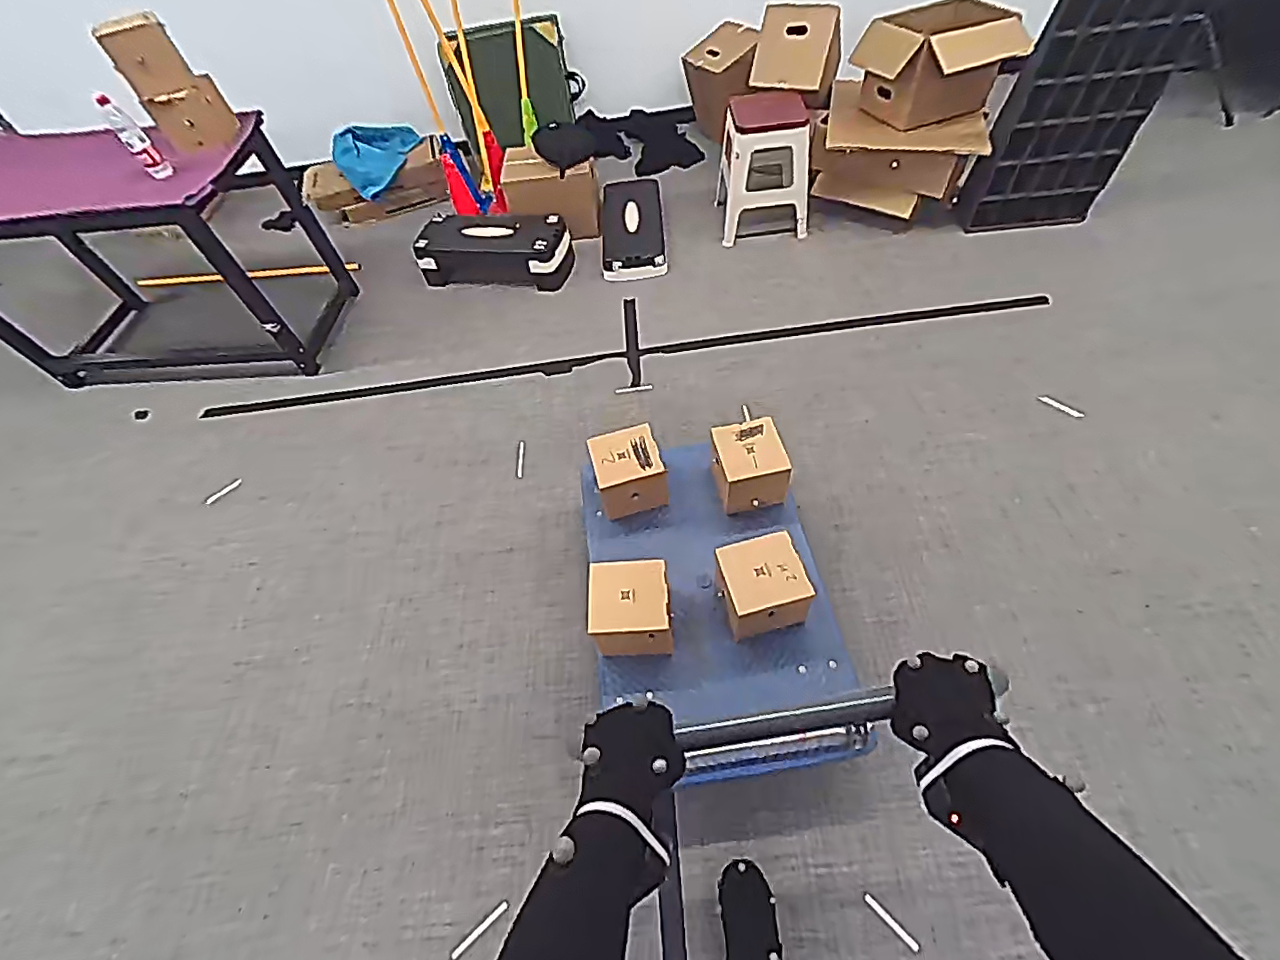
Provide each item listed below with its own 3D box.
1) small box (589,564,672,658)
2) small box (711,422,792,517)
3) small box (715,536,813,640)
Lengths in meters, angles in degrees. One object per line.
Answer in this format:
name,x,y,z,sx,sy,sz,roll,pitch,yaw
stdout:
small box,-0.018,0.310,1.263,0.179,0.176,0.168,-4,56,3
small box,0.290,-0.026,1.449,0.168,0.176,0.179,-12,57,-1
small box,0.281,0.257,1.261,0.179,0.176,0.168,-14,56,-2
